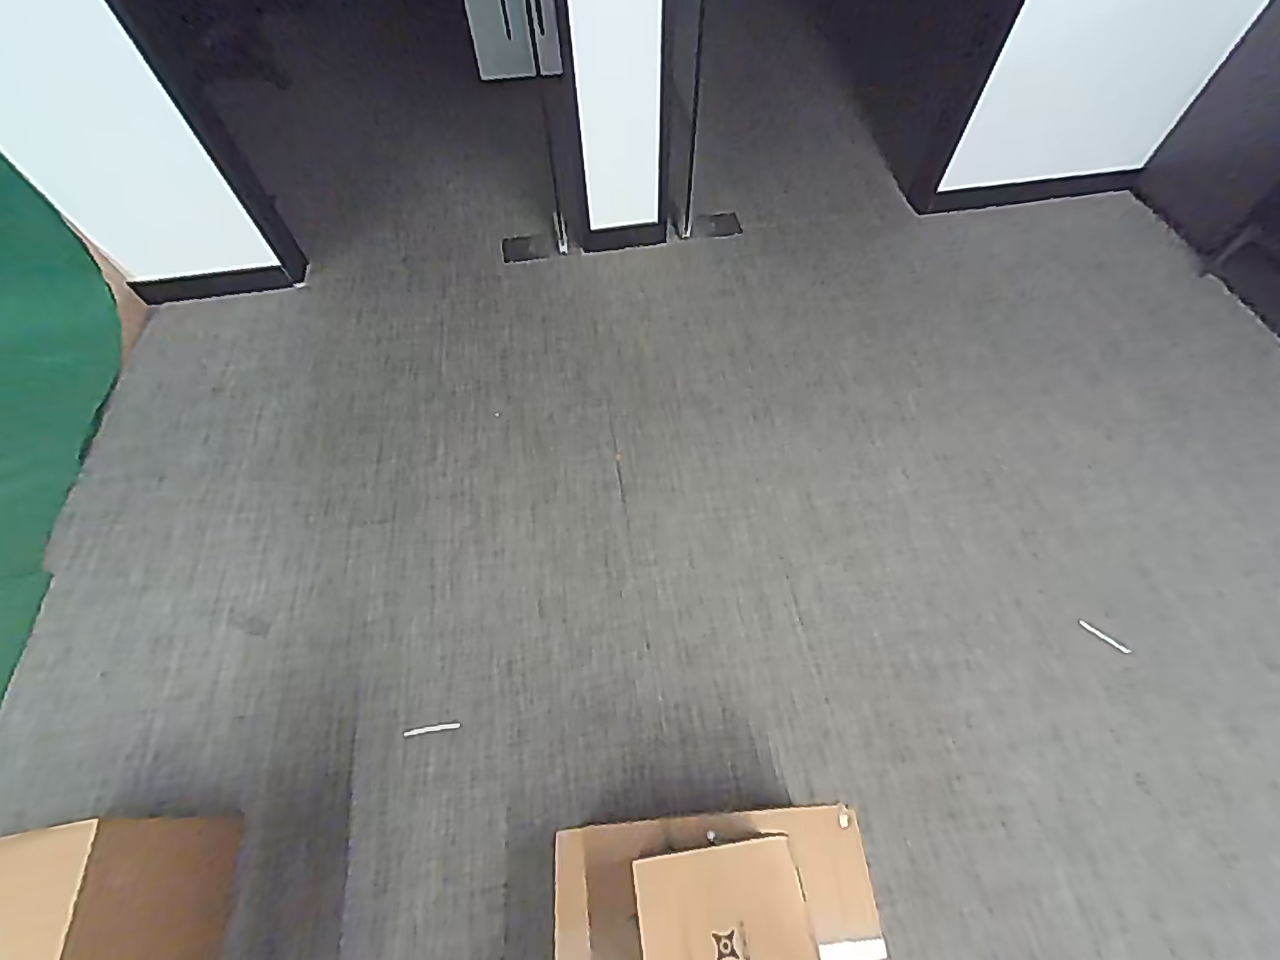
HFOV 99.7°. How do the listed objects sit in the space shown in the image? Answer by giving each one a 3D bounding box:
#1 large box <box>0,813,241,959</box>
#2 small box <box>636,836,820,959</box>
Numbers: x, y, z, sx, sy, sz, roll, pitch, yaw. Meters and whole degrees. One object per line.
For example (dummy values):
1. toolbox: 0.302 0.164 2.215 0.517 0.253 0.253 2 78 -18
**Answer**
1. large box: -0.849 0.735 0.763 0.320 0.320 0.408 -9 58 -4
2. small box: 0.089 0.505 0.604 0.179 0.176 0.168 -7 57 -3
